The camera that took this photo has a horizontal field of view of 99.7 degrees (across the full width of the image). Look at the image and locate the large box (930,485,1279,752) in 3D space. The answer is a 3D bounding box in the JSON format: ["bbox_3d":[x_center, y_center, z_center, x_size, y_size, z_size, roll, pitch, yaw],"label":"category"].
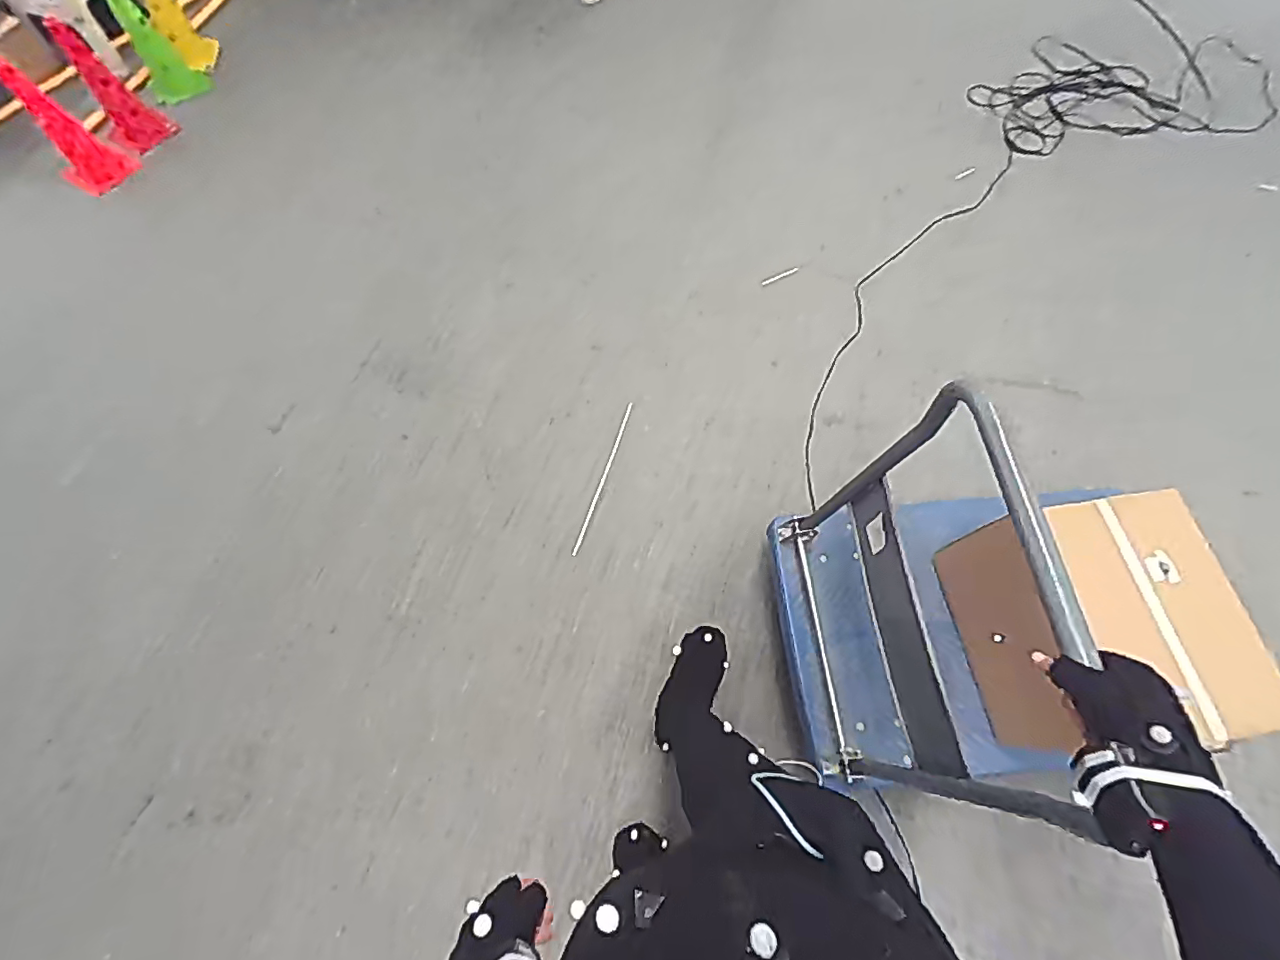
[{"bbox_3d":[0.840,0.270,1.040,0.320,0.320,0.408,-8,67,-4],"label":"large box"}]
